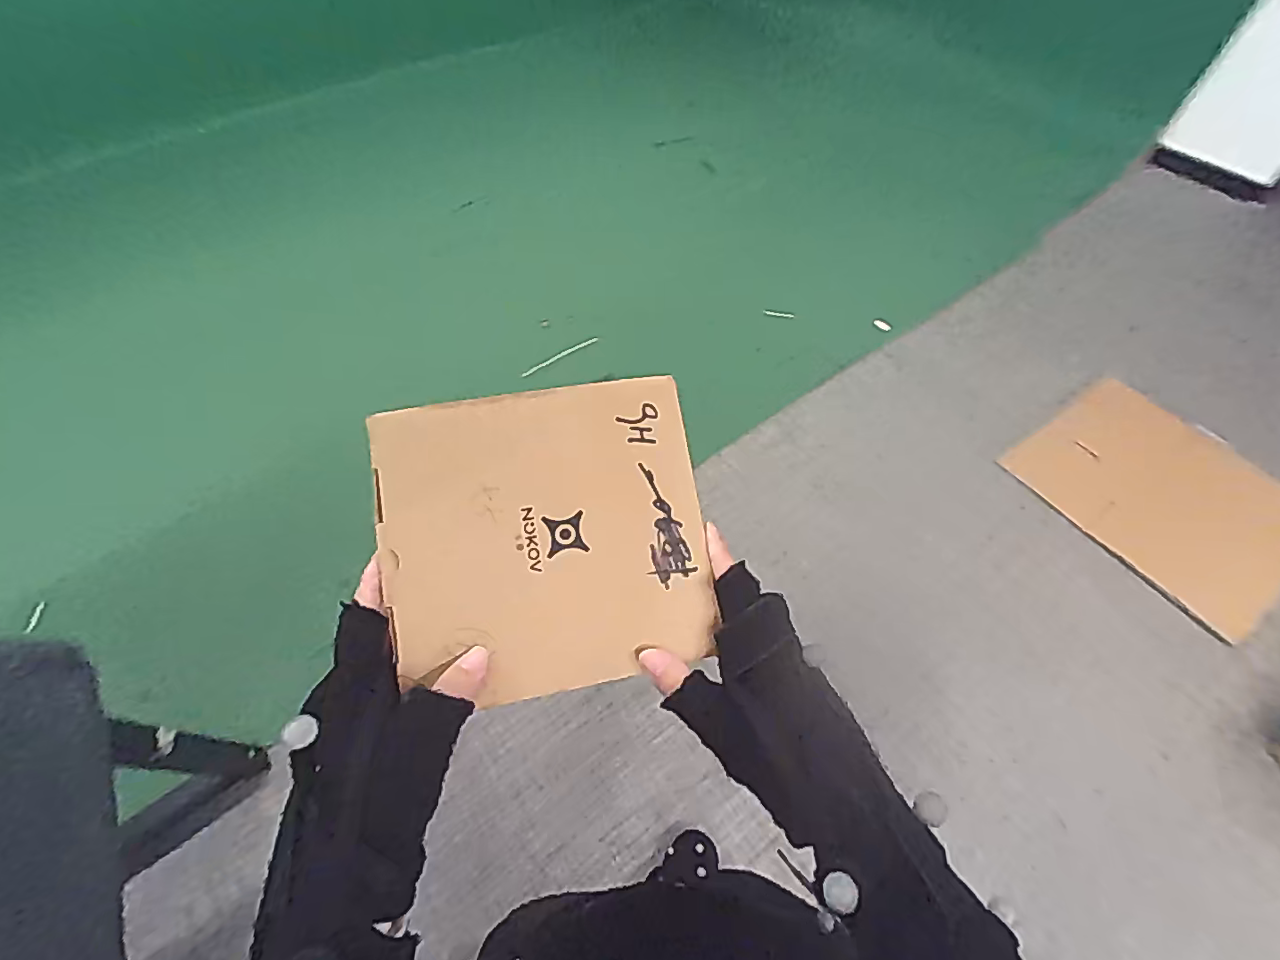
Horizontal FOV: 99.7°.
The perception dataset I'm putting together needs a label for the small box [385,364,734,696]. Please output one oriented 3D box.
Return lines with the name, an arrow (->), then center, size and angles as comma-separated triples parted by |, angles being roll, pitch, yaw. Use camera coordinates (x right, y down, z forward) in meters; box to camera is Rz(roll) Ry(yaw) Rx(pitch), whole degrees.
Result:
small box -> -0.055, 0.039, 0.386 | 0.179, 0.176, 0.168 | -12, 79, -10
